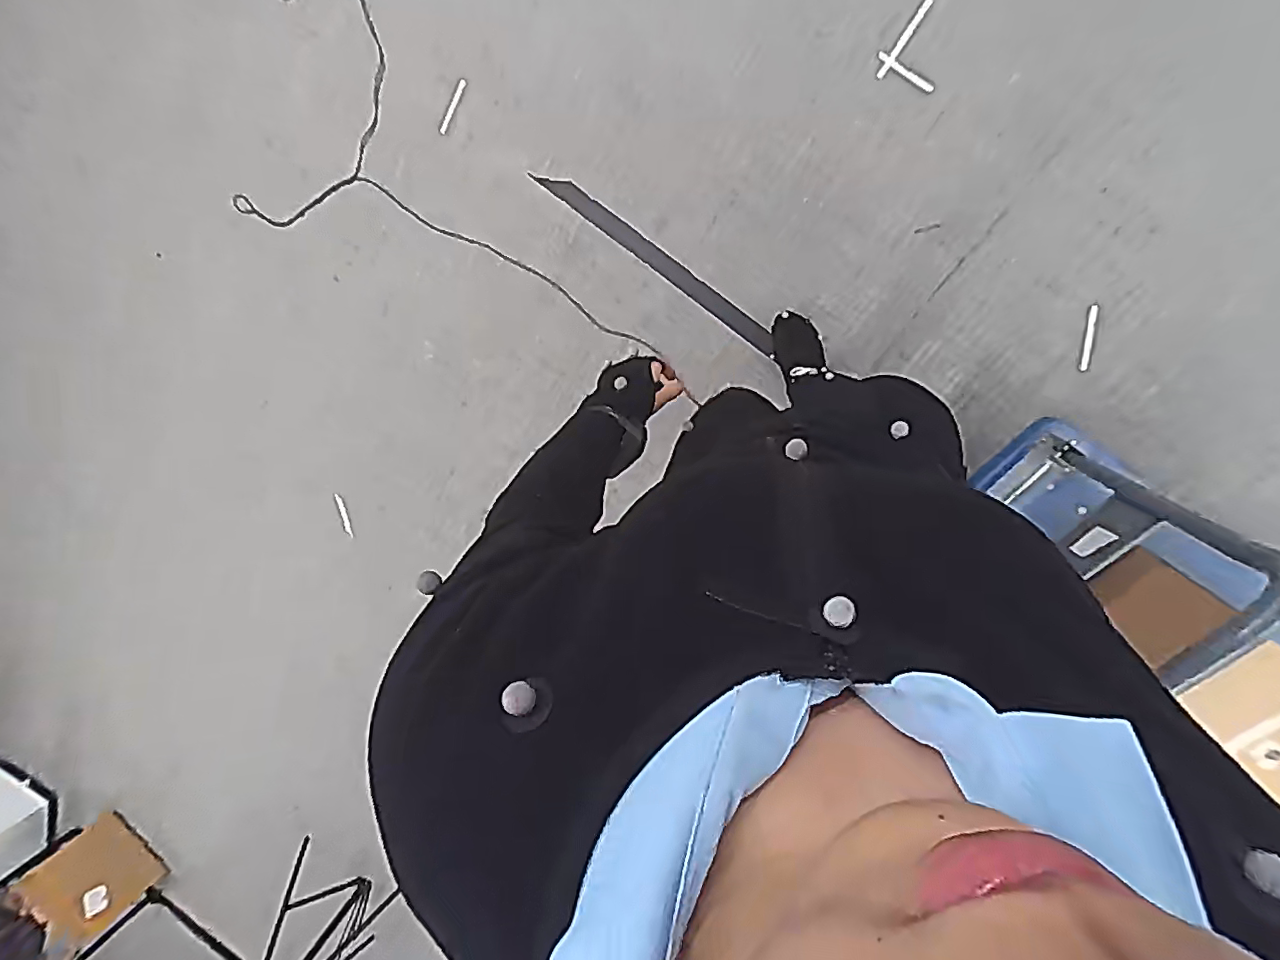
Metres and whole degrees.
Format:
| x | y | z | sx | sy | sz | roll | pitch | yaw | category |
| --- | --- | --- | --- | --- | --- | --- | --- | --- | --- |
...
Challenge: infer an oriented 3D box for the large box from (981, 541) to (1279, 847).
| x | y | z | sx | sy | sz | roll | pitch | yaw | category |
| --- | --- | --- | --- | --- | --- | --- | --- | --- | --- |
| 0.992 | 0.401 | 1.070 | 0.320 | 0.320 | 0.408 | 39 | 112 | 2 | large box |
